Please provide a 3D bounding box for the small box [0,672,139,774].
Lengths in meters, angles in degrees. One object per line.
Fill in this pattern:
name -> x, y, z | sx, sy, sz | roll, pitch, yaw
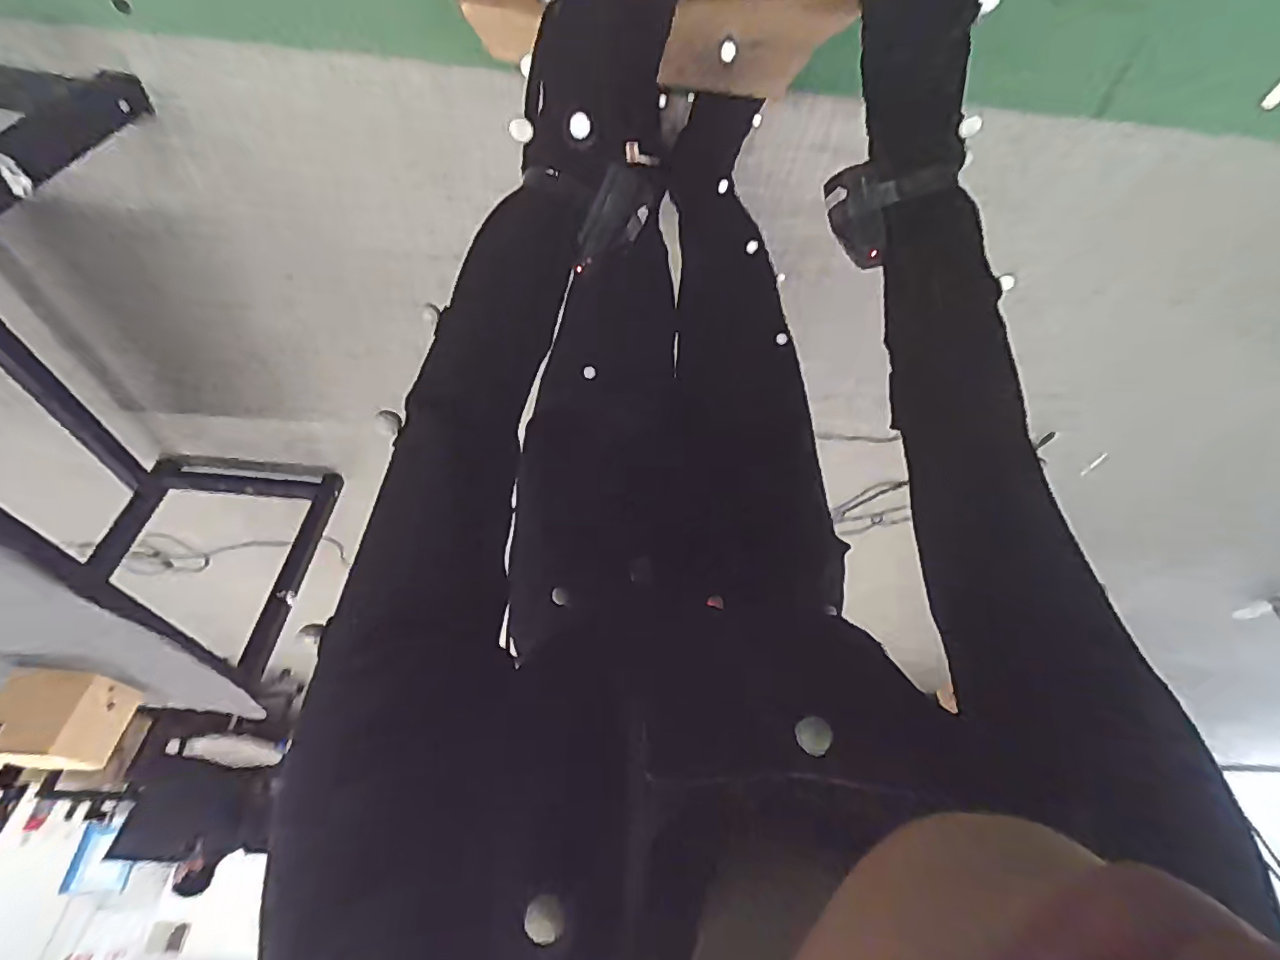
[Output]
small box -> -1.271, 0.528, 1.178 | 0.179, 0.176, 0.168 | 5, 142, -3
